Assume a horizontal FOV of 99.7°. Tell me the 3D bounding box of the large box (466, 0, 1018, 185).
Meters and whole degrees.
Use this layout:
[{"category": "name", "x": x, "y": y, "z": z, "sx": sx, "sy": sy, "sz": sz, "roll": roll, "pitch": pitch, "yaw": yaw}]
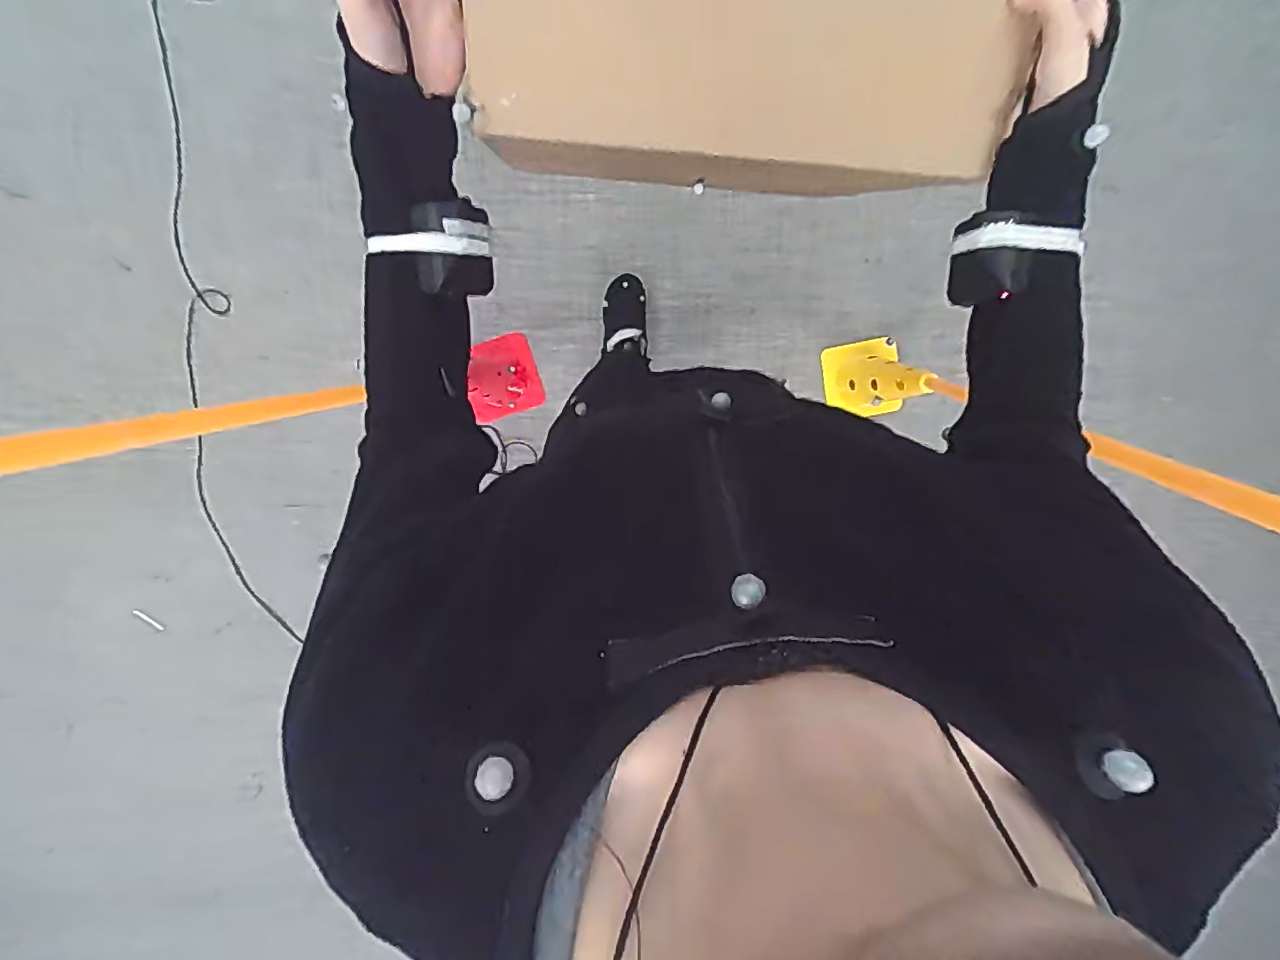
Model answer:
[{"category": "large box", "x": 0.070, "y": -0.455, "z": 0.488, "sx": 0.408, "sy": 0.320, "sz": 0.320, "roll": 1, "pitch": 115, "yaw": -7}]
